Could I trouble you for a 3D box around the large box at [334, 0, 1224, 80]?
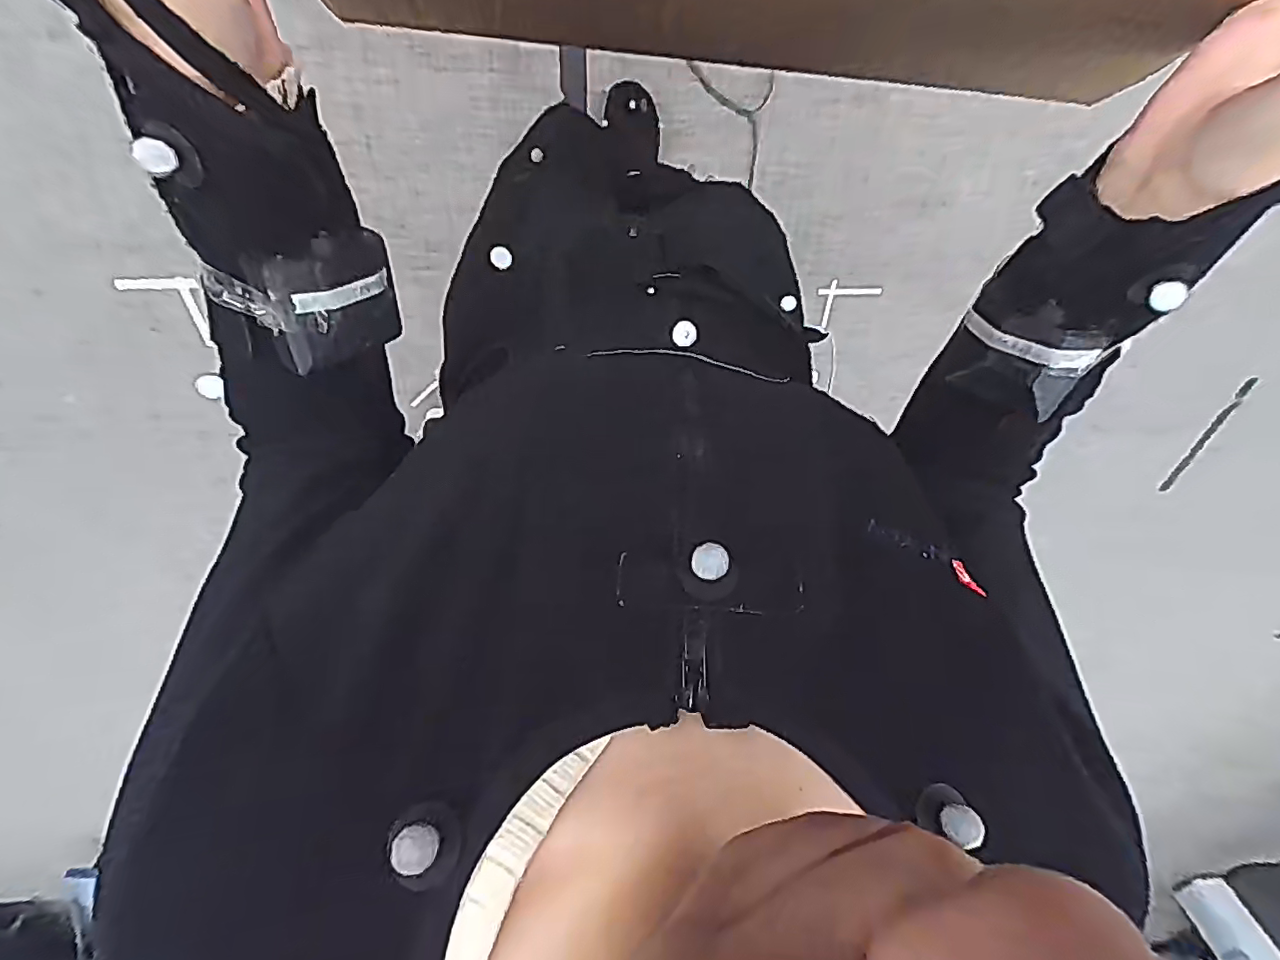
[{"bbox_3d":[0.056,-0.345,0.111,0.408,0.320,0.320,3,103,-2],"label":"large box"}]
